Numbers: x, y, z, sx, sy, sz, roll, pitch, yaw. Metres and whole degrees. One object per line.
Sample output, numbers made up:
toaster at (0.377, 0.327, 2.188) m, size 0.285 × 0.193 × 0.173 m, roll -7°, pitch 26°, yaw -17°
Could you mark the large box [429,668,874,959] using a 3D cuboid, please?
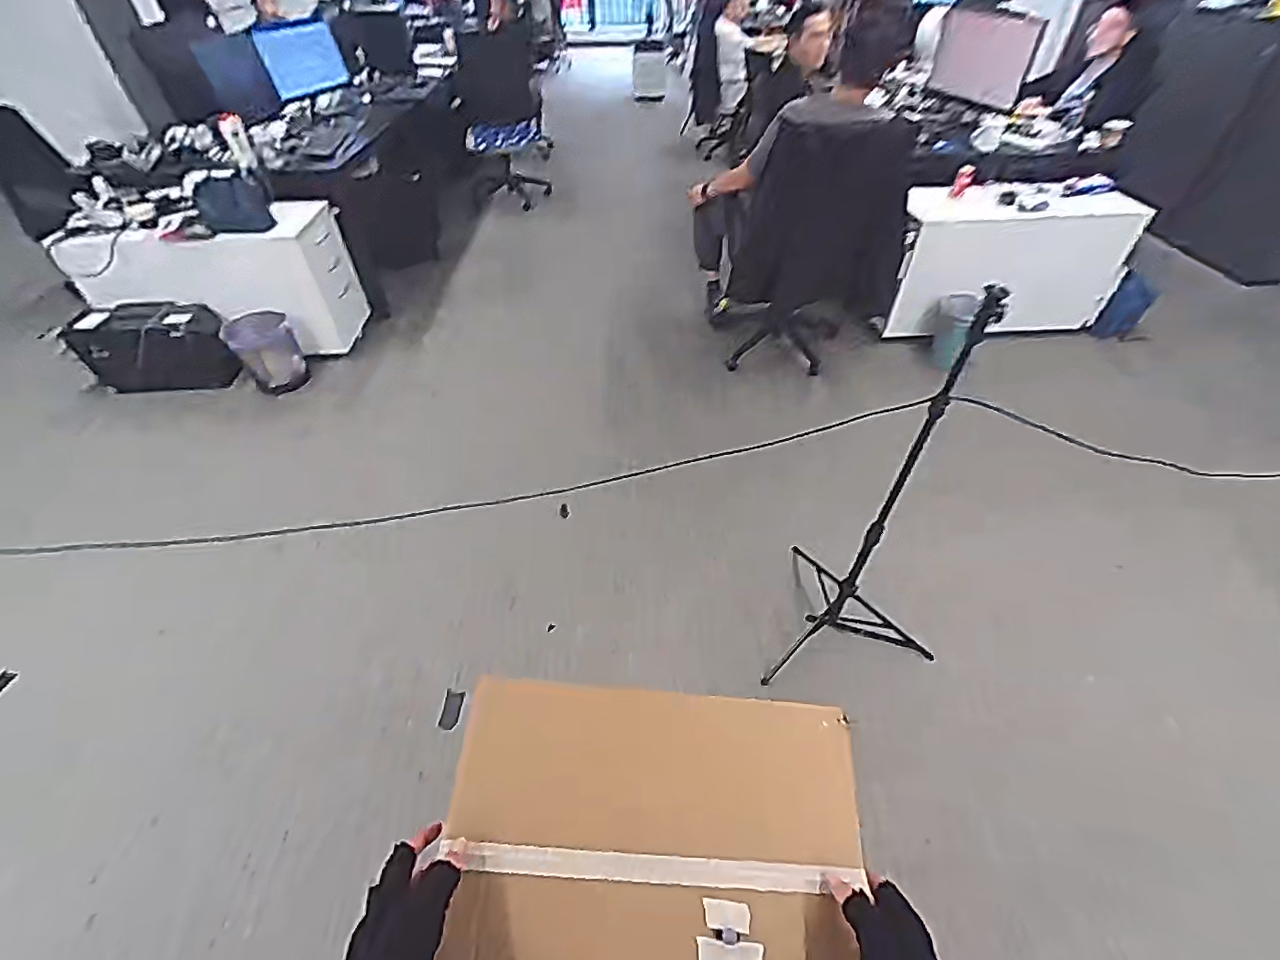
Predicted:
large box at (0.006, 0.432, 0.645) m, size 0.408 × 0.320 × 0.320 m, roll 6°, pitch 59°, yaw -2°
